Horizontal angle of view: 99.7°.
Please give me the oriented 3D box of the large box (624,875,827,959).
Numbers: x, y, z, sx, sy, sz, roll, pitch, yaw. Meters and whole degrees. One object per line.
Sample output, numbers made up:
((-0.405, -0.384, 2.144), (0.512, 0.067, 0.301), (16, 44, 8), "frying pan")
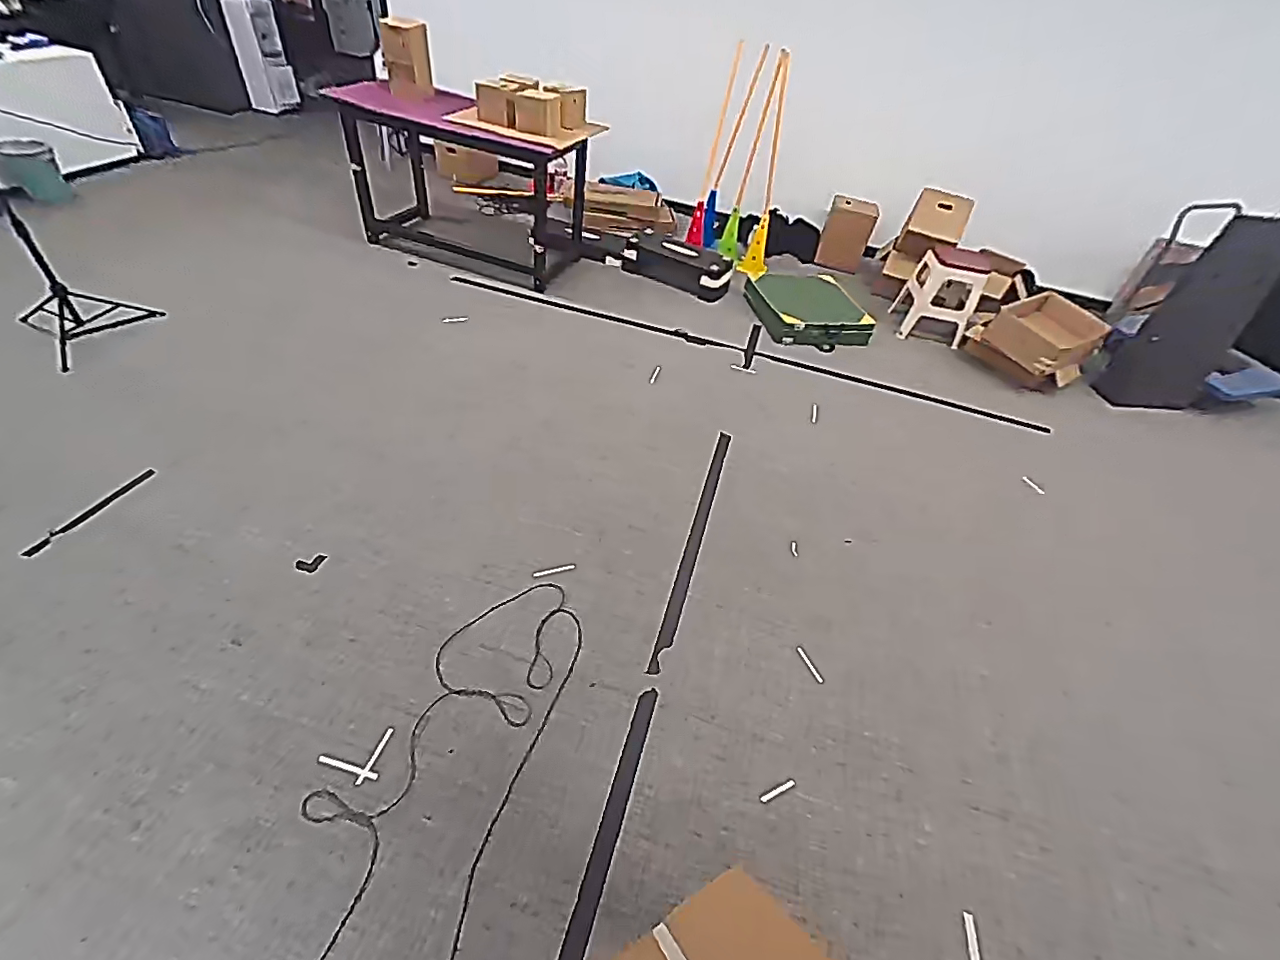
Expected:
((0.158, 0.809, 0.656), (0.320, 0.408, 0.320), (-24, 88, -22), "large box")
